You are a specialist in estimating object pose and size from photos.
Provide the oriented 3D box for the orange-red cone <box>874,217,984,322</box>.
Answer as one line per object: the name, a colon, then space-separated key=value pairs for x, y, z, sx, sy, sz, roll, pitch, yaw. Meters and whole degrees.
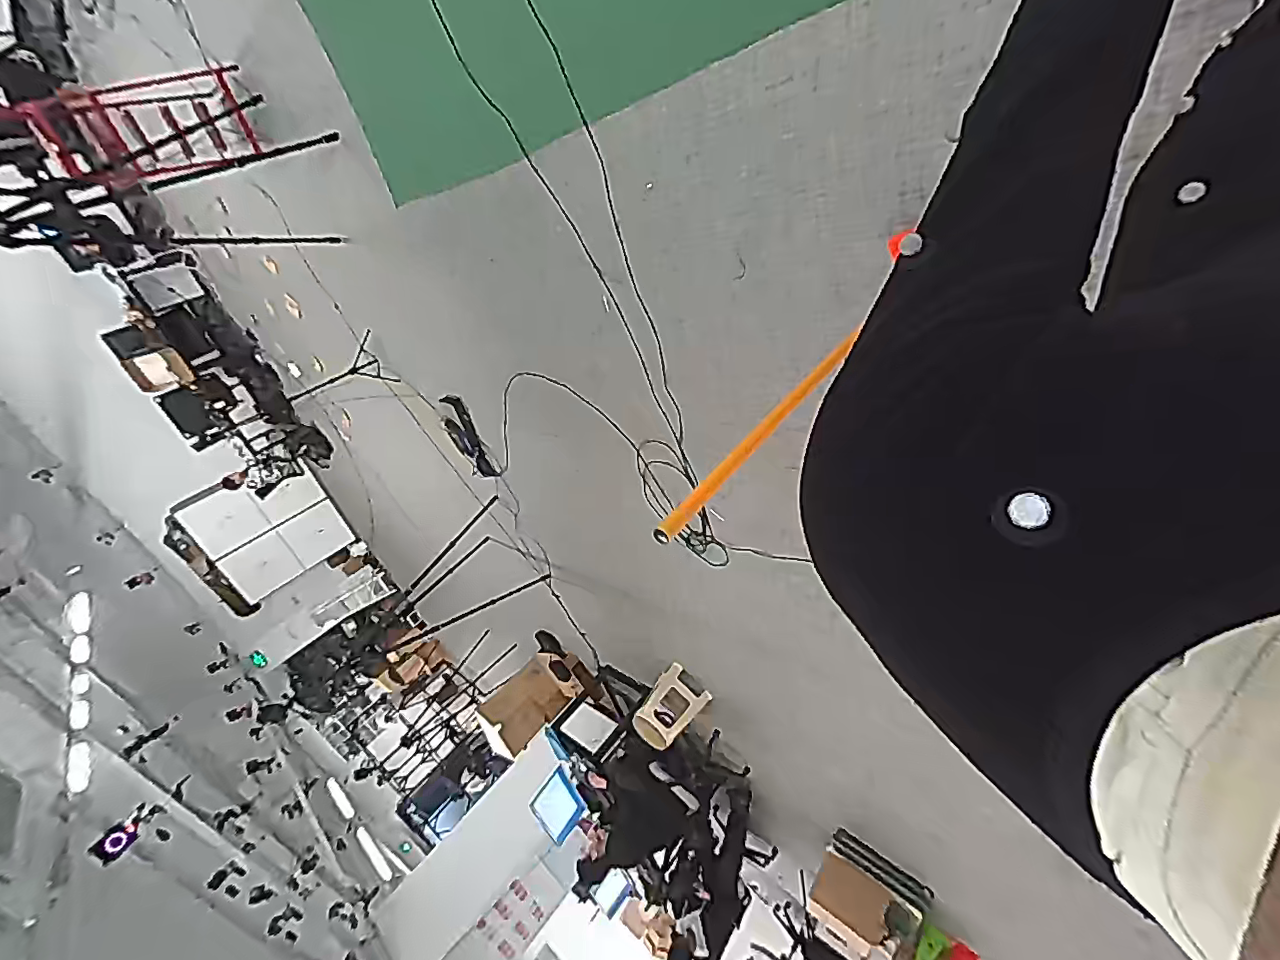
orange-red cone: x=0.656 y=-0.465 z=1.311 sx=0.199 sy=0.360 sz=0.198 roll=-6 pitch=117 yaw=53
